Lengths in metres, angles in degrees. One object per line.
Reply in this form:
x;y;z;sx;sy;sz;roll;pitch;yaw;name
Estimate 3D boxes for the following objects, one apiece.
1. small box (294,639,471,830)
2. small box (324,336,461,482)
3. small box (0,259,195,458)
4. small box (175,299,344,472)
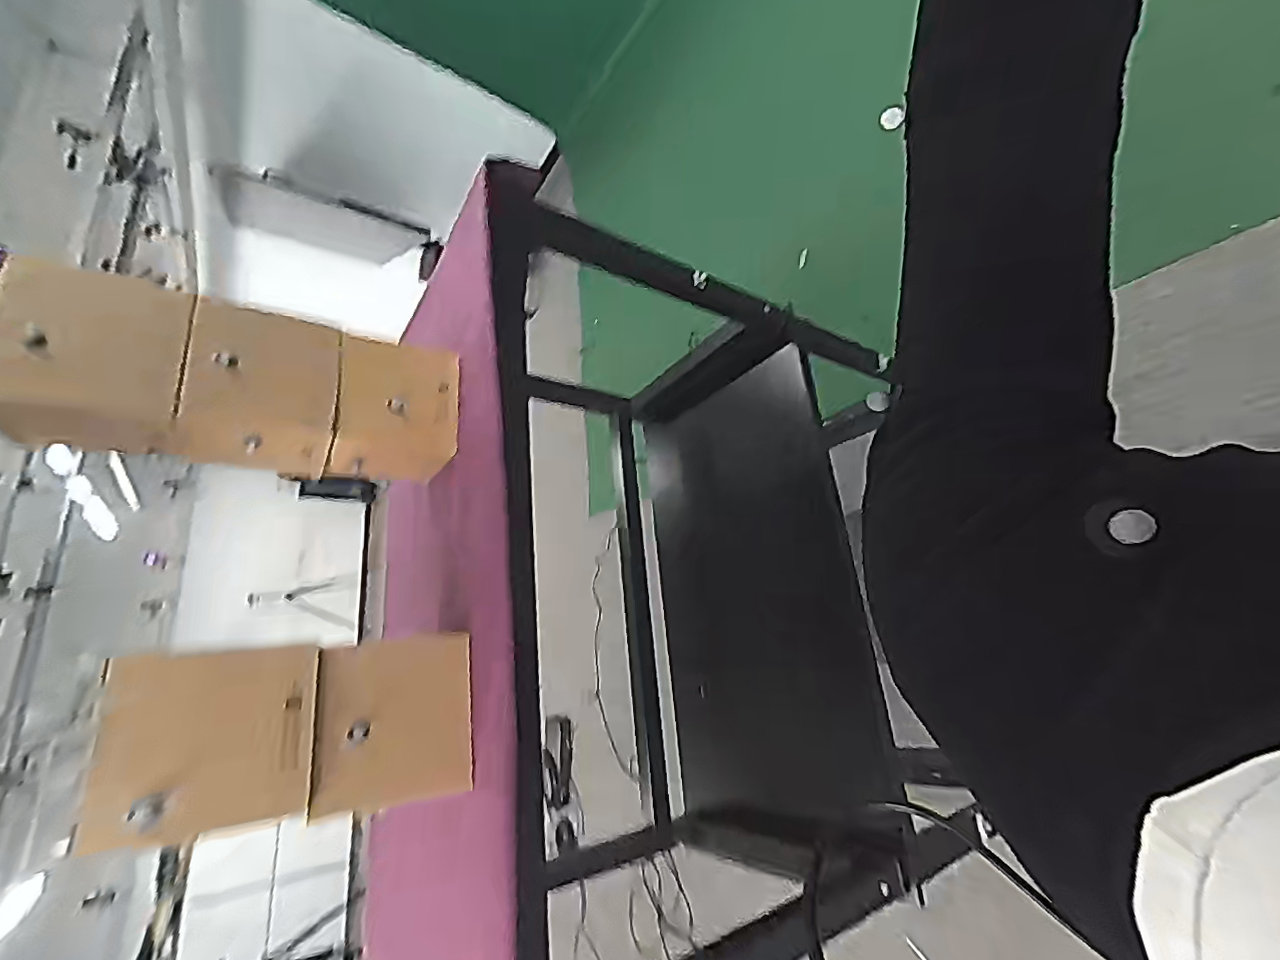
-0.312;0.300;0.662;0.168;0.176;0.179;-34;57;47;small box
-0.389;-0.100;0.852;0.179;0.176;0.168;-25;64;52;small box
-0.659;-0.132;0.671;0.168;0.176;0.179;-27;62;50;small box
-0.518;-0.116;0.753;0.168;0.176;0.179;-29;61;50;small box
